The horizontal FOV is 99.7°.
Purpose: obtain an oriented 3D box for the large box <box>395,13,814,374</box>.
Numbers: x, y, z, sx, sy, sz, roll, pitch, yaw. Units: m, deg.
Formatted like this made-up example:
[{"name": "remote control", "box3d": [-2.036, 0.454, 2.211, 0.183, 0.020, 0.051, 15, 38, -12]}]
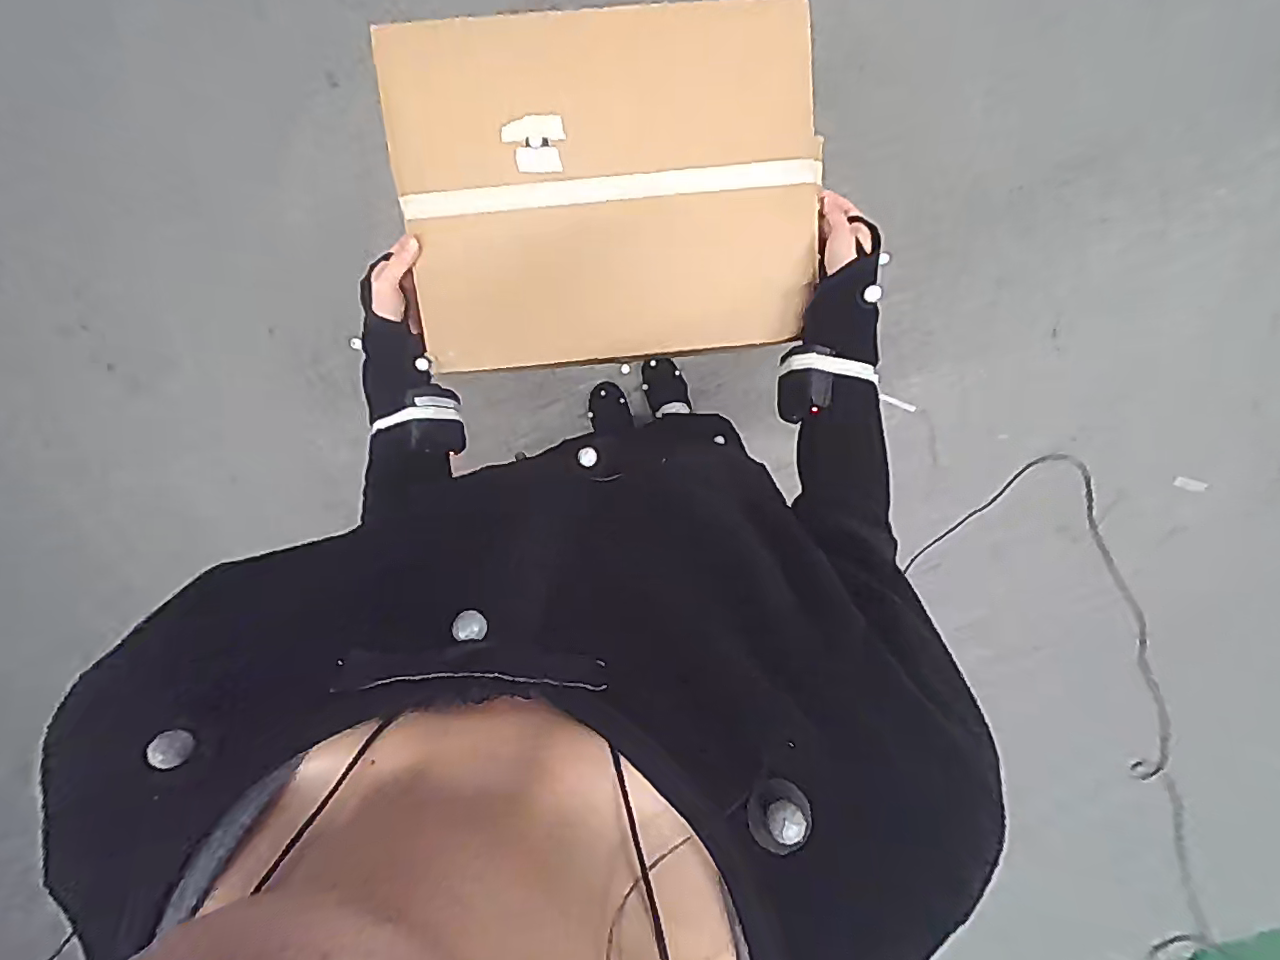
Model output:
[{"name": "large box", "box3d": [-0.027, -0.311, 0.689, 0.408, 0.320, 0.320, -5, 101, -1]}]
